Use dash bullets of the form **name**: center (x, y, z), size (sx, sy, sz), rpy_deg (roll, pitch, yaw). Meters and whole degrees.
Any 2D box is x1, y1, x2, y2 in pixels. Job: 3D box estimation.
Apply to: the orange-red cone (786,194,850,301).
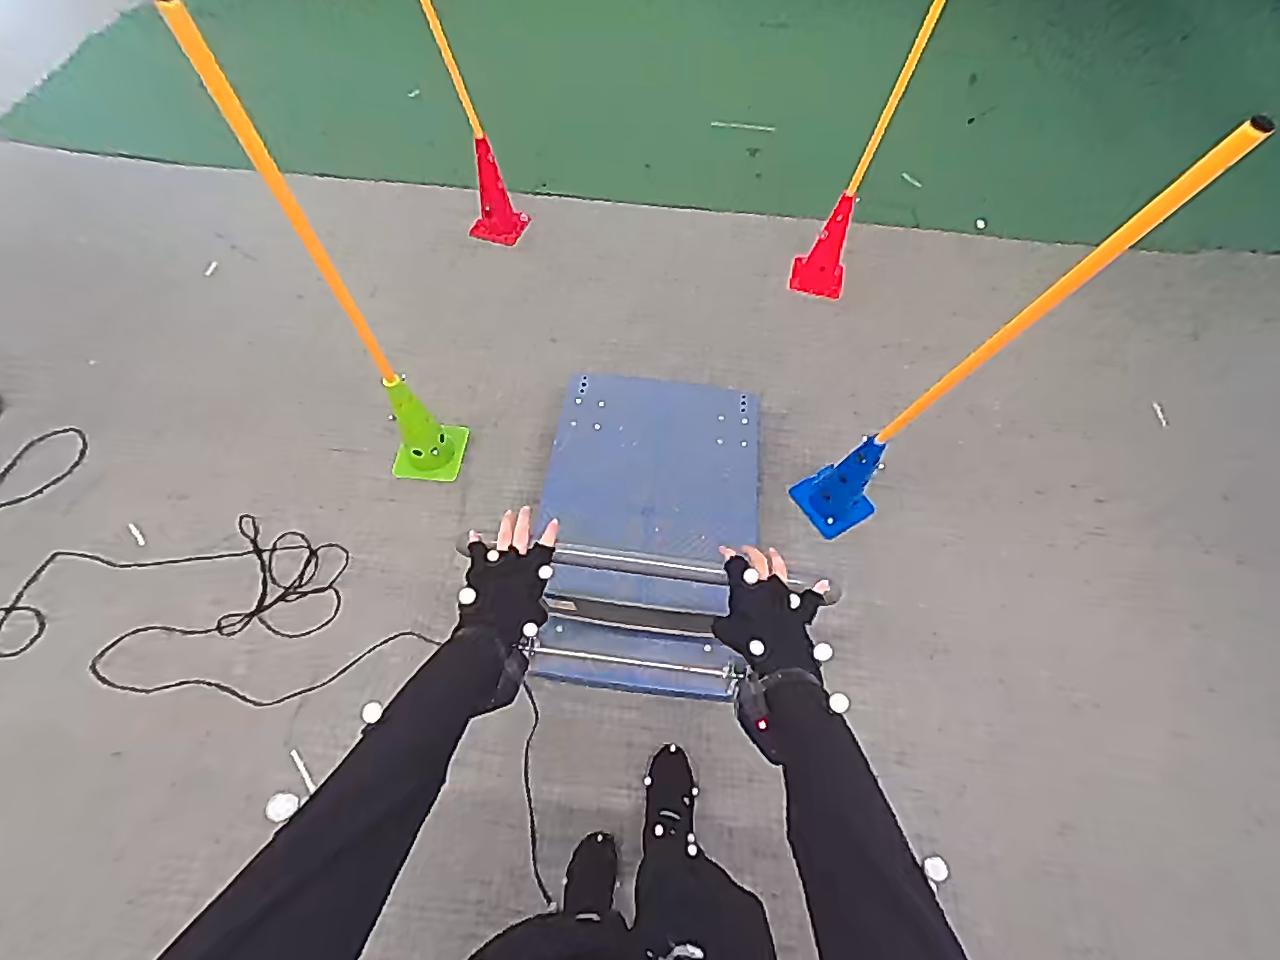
- **orange-red cone**: center (0.689, -0.867, 1.977), size (0.198, 0.360, 0.199), rpy_deg (15, 63, 7)
